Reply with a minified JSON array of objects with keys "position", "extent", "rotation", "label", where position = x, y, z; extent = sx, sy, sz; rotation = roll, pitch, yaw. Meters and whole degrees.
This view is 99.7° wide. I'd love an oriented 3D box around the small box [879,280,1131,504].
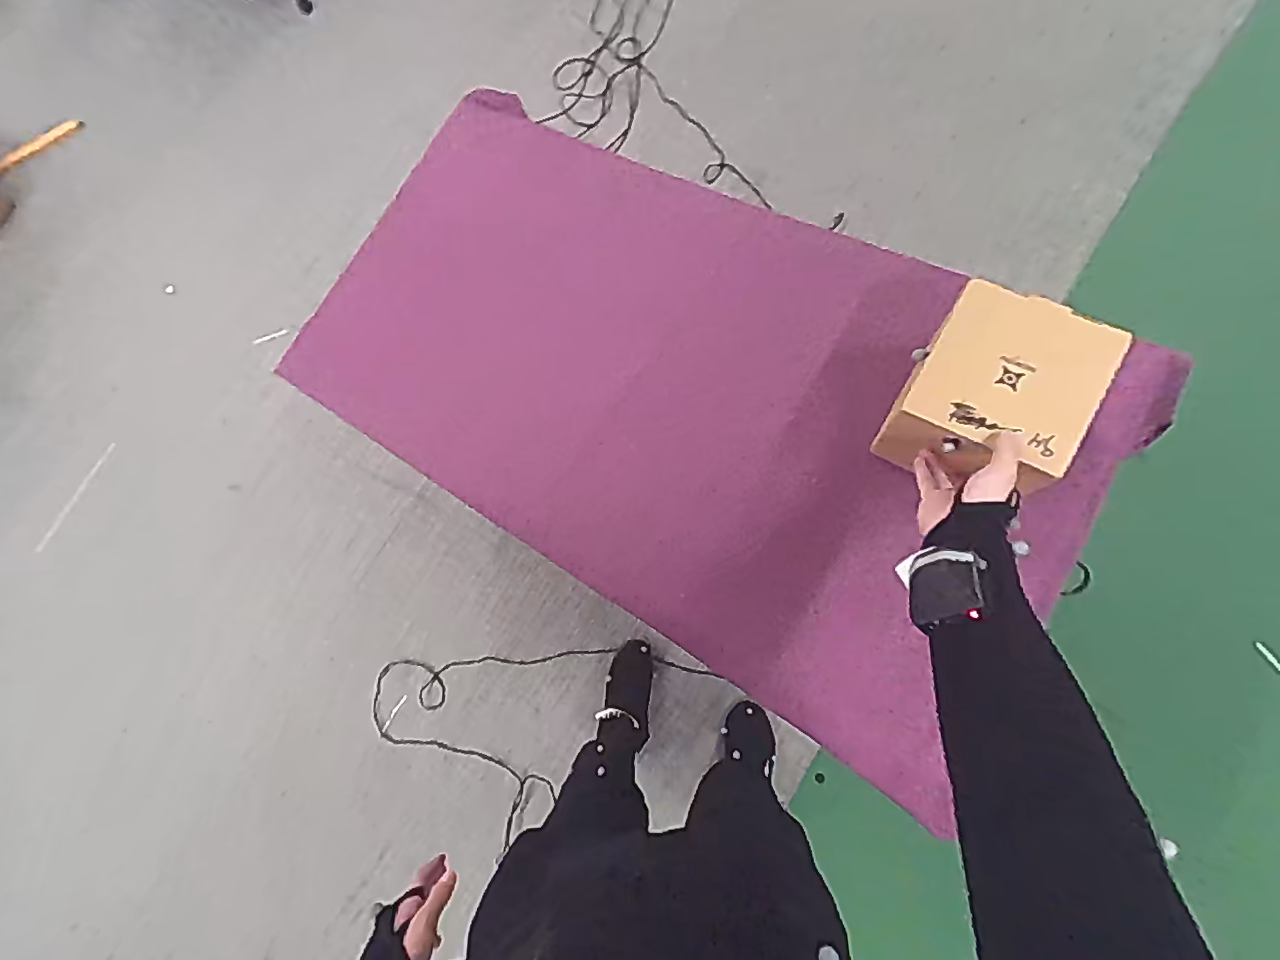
[{"position":[0.409,-0.094,0.643],"extent":[0.168,0.176,0.179],"rotation":[29,84,17],"label":"small box"}]
